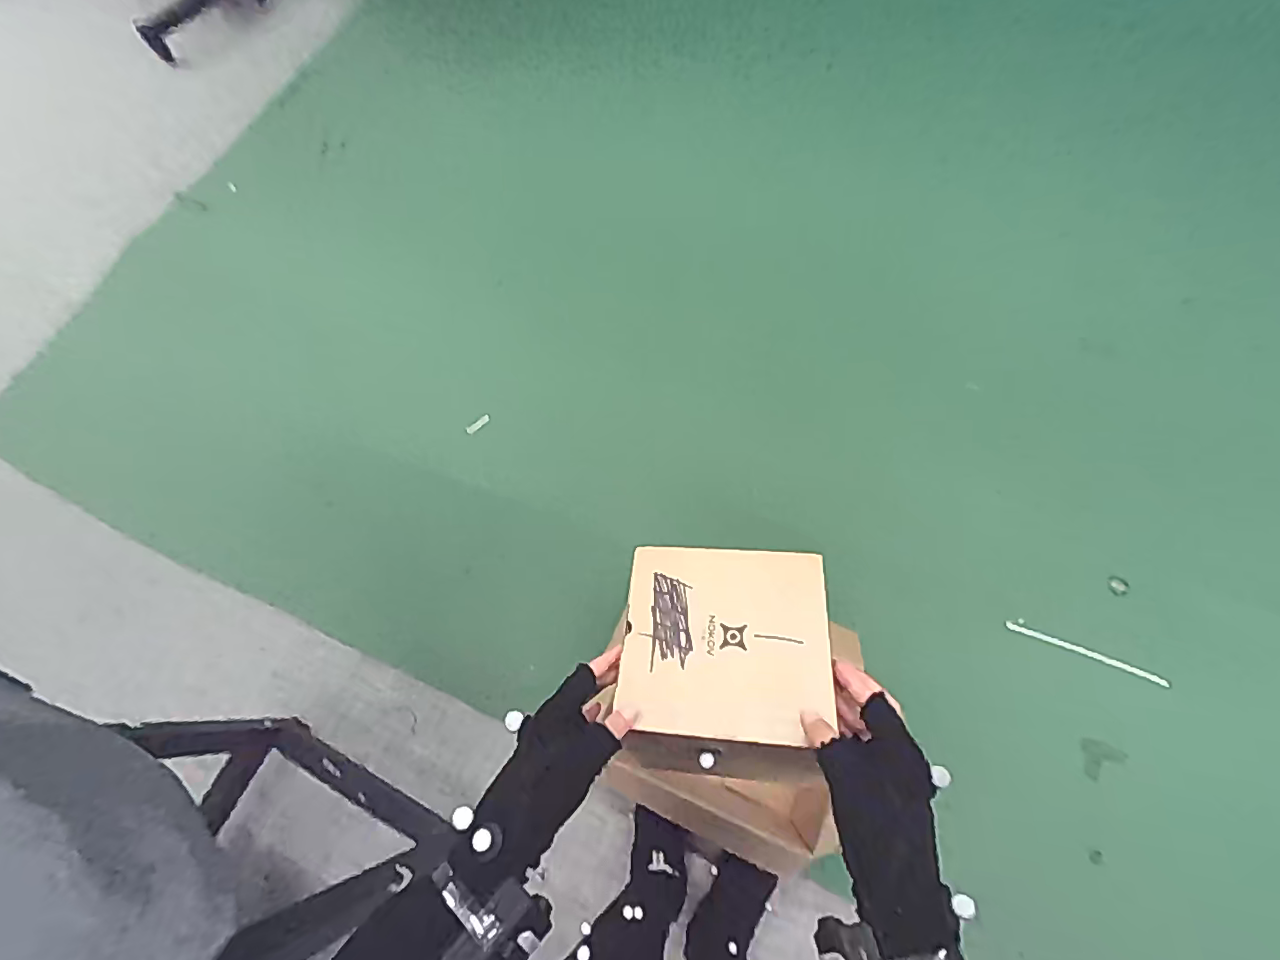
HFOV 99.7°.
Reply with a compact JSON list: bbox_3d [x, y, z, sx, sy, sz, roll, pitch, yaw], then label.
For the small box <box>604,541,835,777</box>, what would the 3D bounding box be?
[{"bbox_3d":[0.077,0.172,0.512,0.179,0.176,0.168,0,53,11],"label":"small box"}]
